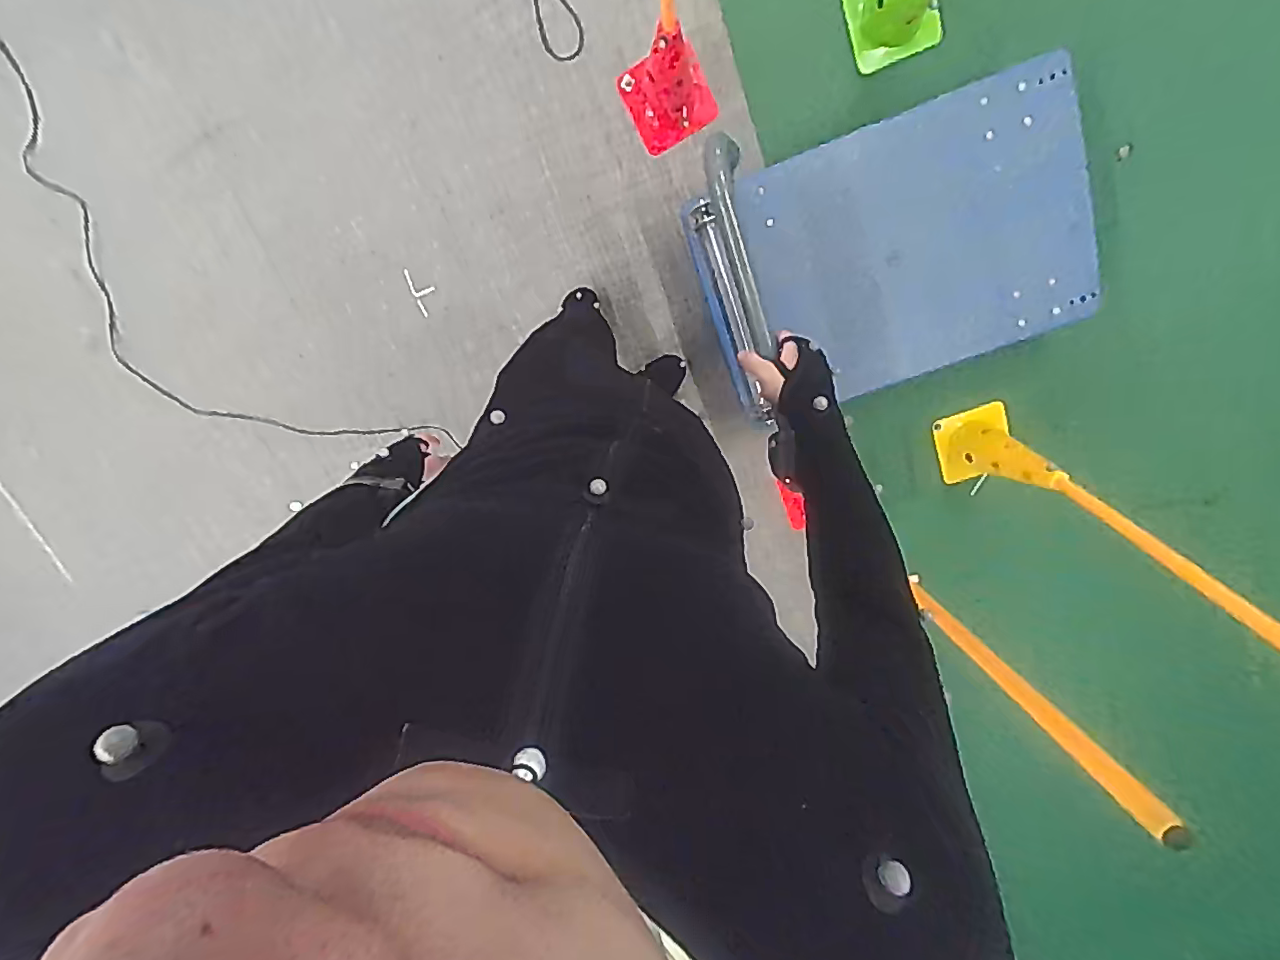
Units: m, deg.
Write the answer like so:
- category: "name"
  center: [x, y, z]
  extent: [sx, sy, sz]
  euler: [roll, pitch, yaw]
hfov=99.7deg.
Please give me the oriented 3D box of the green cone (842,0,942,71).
- category: "green cone"
  center: [0.578, -1.041, 1.087]
  extent: [0.202, 0.368, 0.200]
  euler: [-20, 104, 7]

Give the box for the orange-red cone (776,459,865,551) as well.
- category: "orange-red cone"
  center: [0.511, 0.097, 1.427]
  extent: [0.199, 0.360, 0.198]
  euler: [-20, 105, 6]
